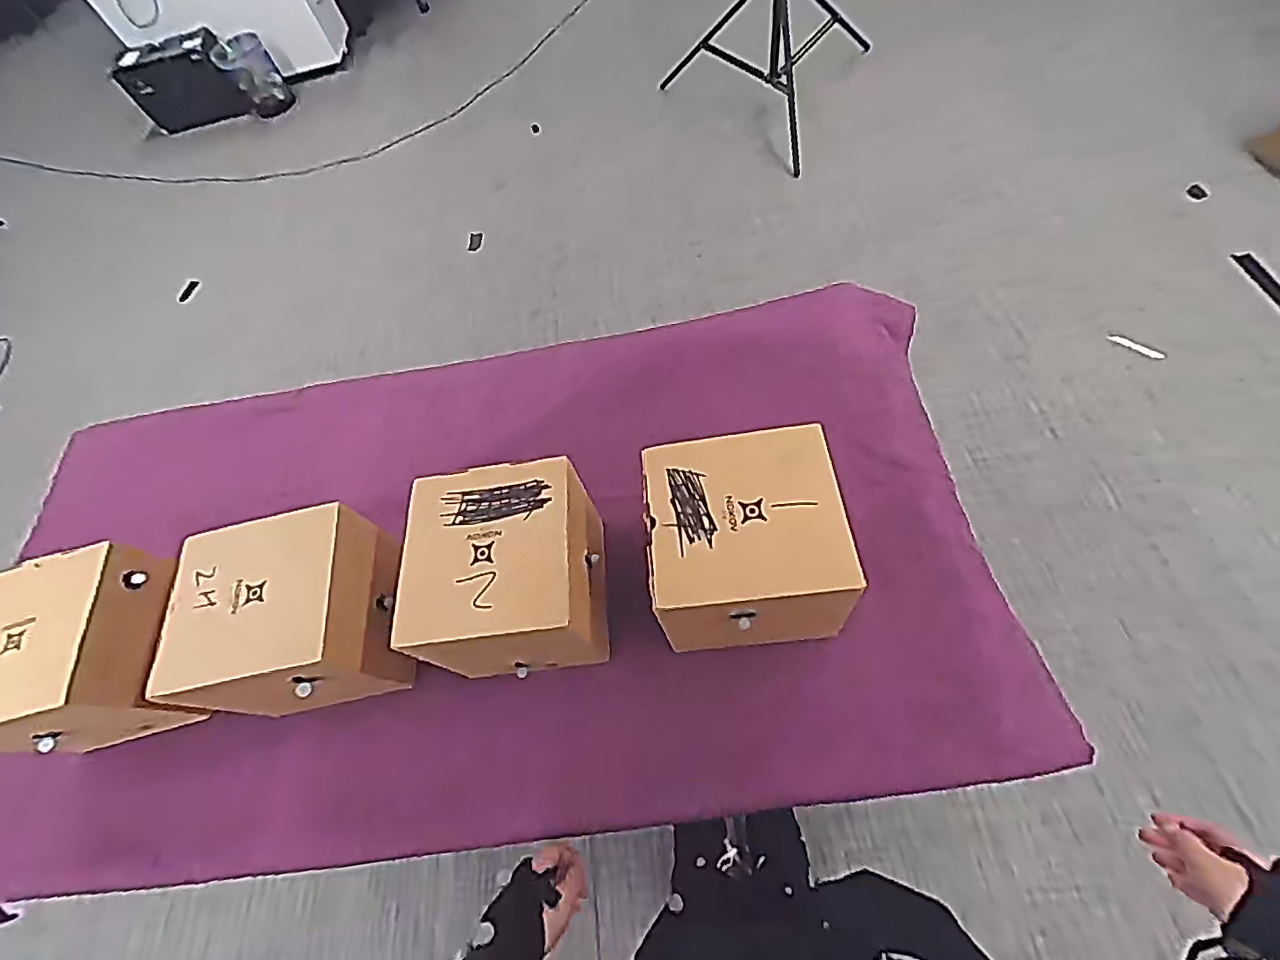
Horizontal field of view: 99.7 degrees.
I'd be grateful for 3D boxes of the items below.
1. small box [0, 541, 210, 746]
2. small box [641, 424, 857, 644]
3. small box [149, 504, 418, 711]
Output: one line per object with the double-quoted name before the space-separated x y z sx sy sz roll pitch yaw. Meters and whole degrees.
"small box" -0.619 0.197 0.623 0.168 0.176 0.179 -16 60 2
"small box" 0.102 0.065 0.556 0.179 0.176 0.168 -6 61 6
"small box" -0.368 0.149 0.600 0.179 0.176 0.168 -13 60 3
